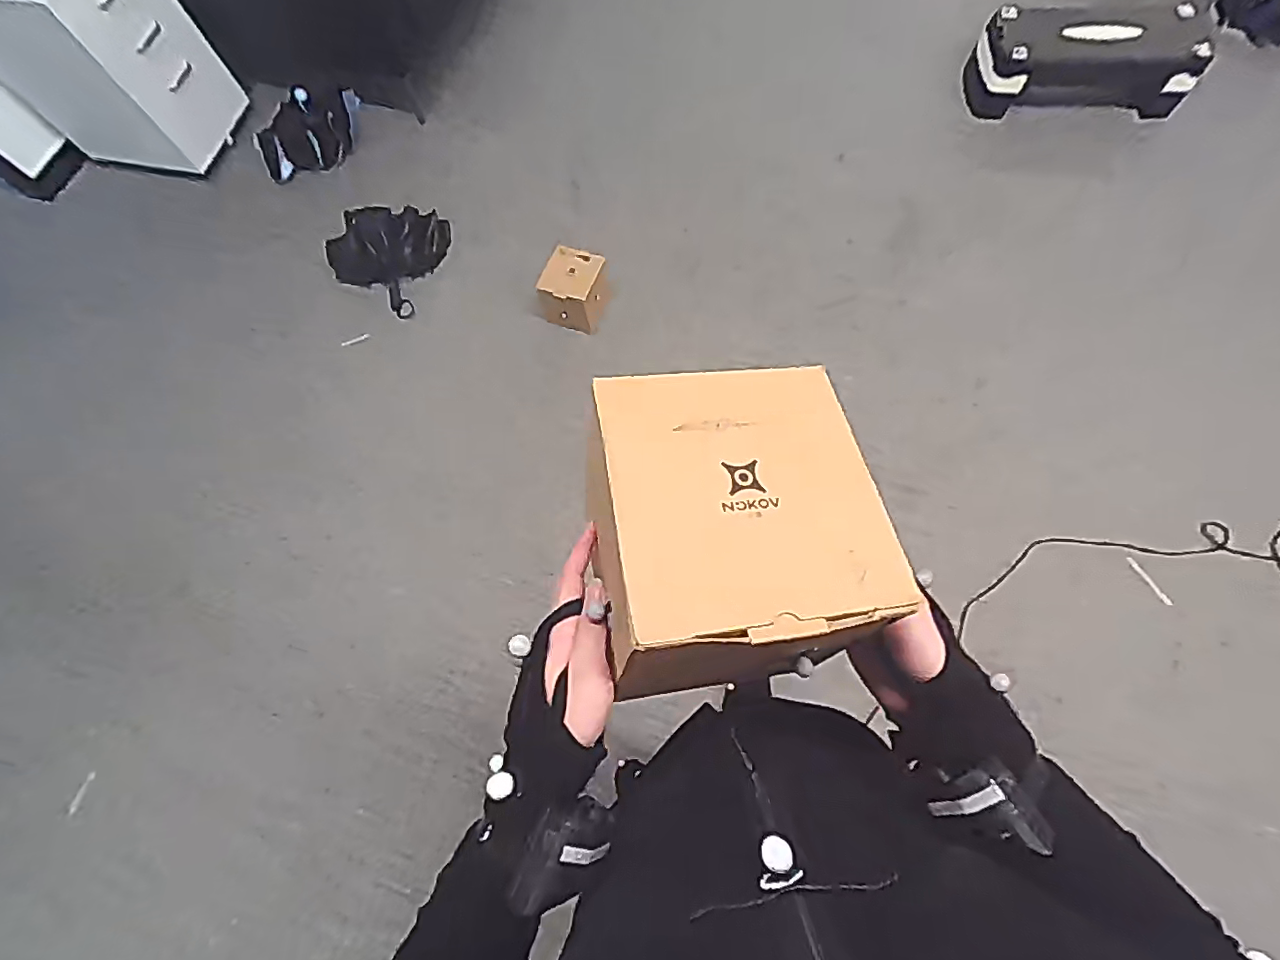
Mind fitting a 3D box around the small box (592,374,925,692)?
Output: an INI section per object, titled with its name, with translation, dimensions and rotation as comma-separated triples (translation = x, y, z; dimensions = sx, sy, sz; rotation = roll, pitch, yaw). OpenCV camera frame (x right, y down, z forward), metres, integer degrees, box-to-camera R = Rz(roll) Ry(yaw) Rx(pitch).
[small box]
translation = 0.058, 0.047, 0.395
dimensions = 0.168, 0.176, 0.179
rotation = -5, 60, -12
